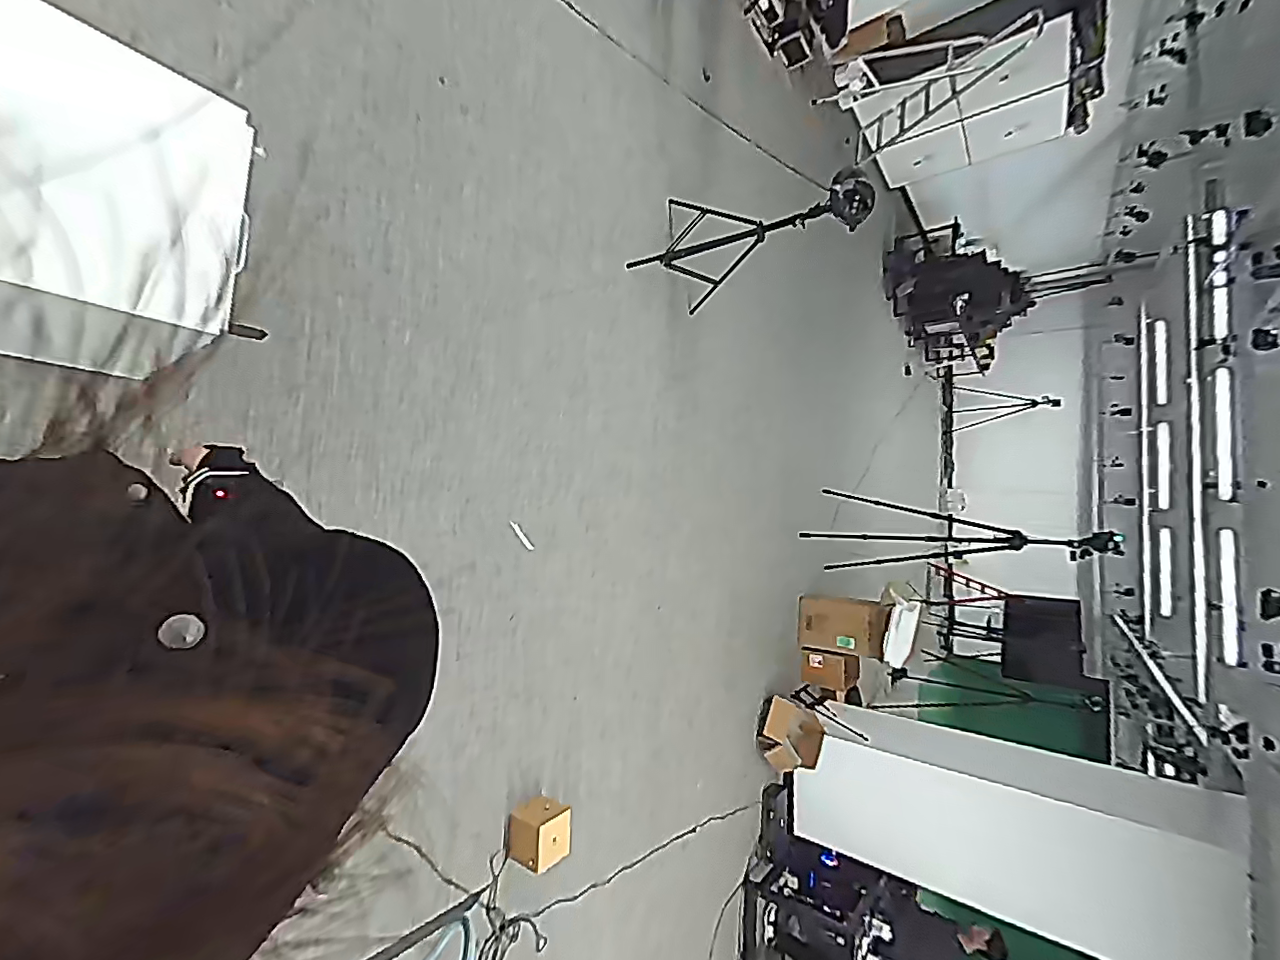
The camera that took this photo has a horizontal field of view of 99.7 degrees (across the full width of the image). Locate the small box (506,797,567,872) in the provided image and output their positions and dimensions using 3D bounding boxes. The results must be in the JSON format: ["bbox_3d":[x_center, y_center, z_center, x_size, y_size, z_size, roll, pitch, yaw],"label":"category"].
[{"bbox_3d":[-0.404,1.362,2.098,0.168,0.176,0.179,5,86,-53],"label":"small box"}]
